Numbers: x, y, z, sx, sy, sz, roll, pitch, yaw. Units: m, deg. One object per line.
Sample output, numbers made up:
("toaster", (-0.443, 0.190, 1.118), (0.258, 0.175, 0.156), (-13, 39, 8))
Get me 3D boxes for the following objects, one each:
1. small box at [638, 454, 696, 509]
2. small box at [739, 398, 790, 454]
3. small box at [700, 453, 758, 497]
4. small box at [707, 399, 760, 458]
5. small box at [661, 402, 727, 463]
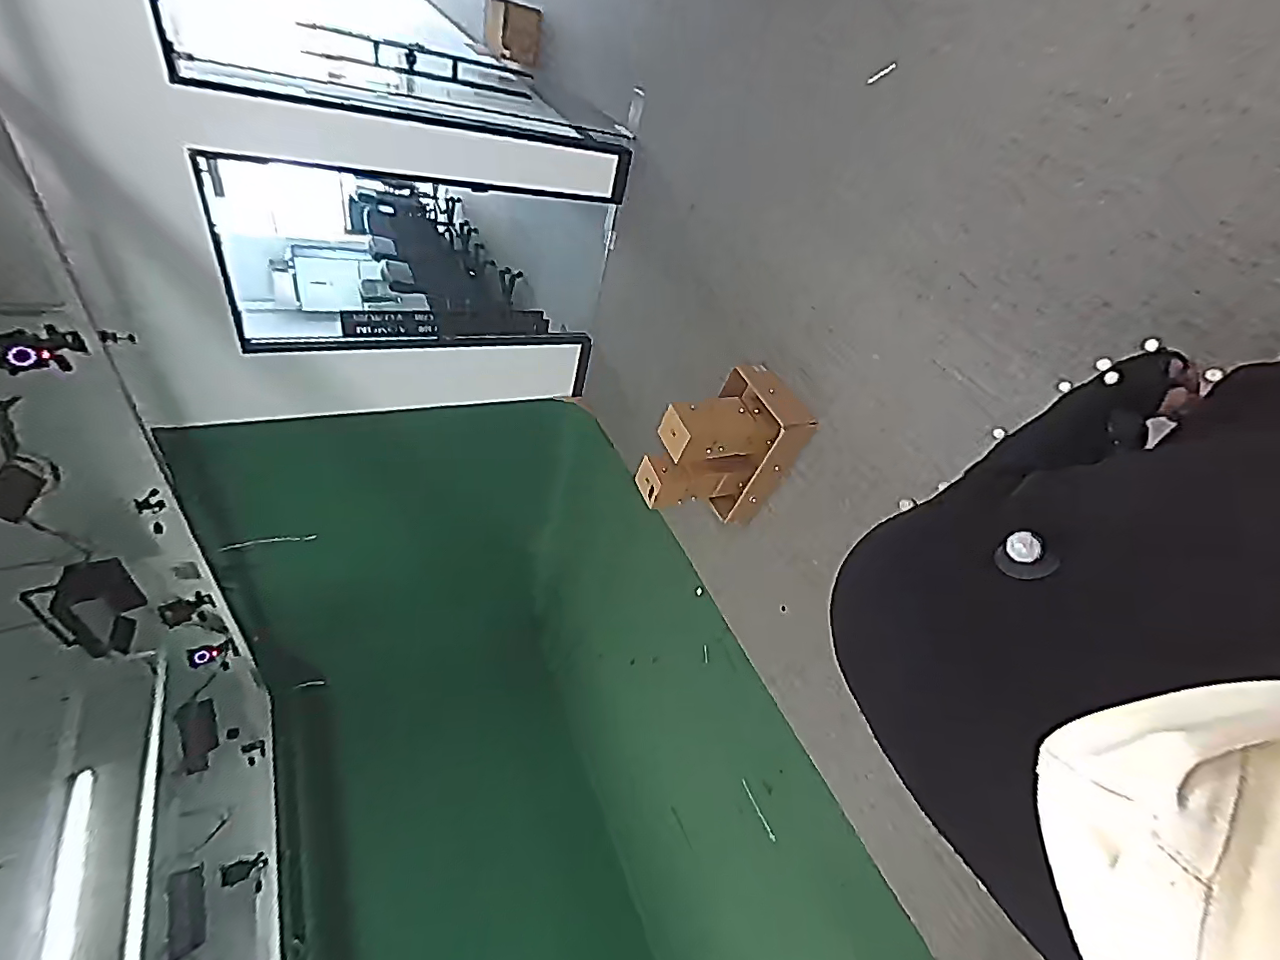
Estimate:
("small box", (0.118, 0.001, 2.334), (0.179, 0.176, 0.168), (64, 147, 33))
("small box", (0.493, -0.230, 2.272), (0.179, 0.176, 0.168), (62, 146, 31))
("small box", (0.408, -0.046, 2.480), (0.179, 0.176, 0.168), (63, 147, 33))
("small box", (0.353, -0.211, 2.189), (0.179, 0.176, 0.168), (64, 148, 31))
("small box", (0.210, -0.189, 2.113), (0.179, 0.176, 0.168), (63, 148, 30))
